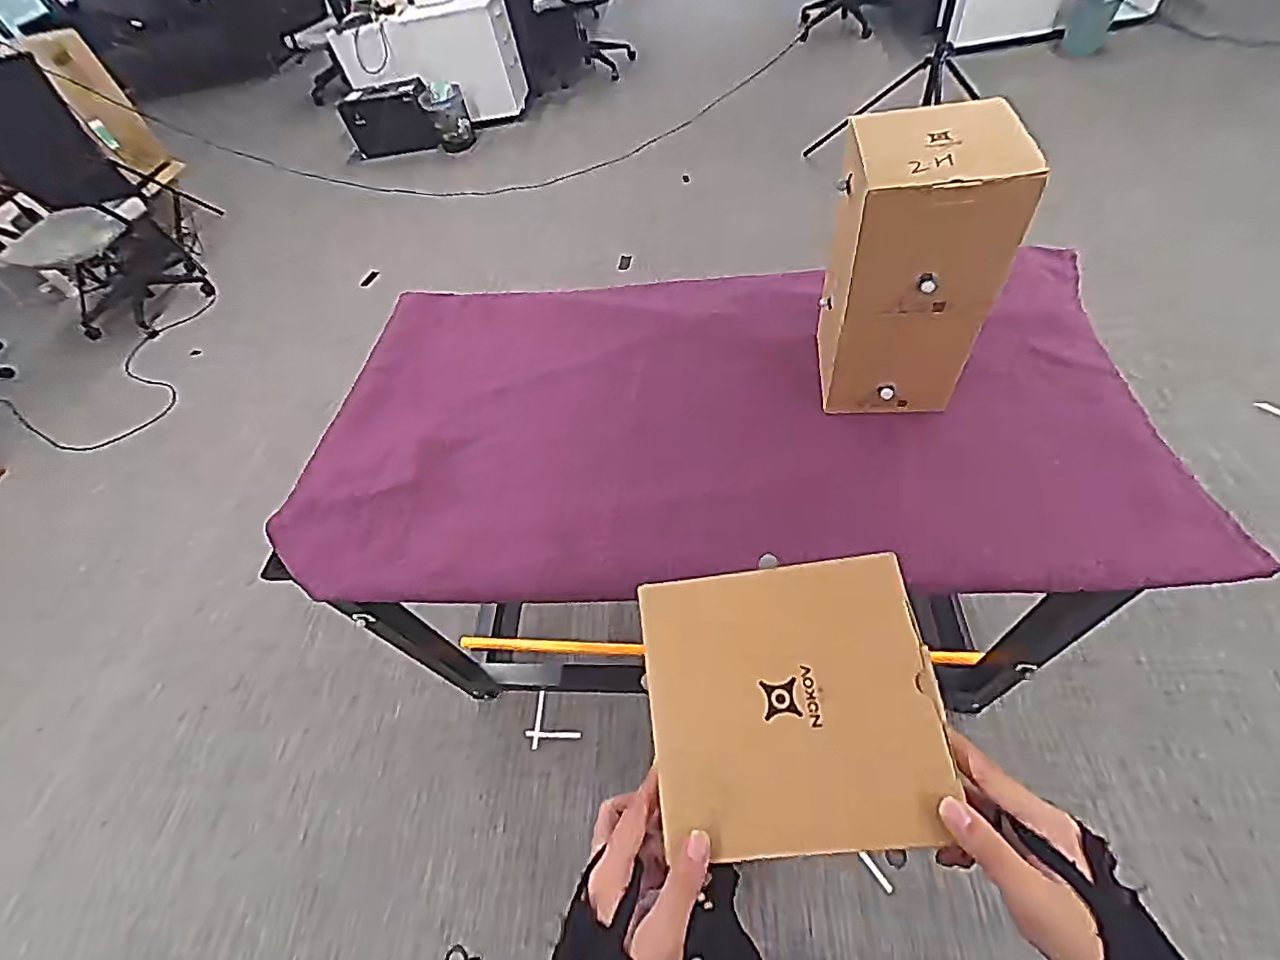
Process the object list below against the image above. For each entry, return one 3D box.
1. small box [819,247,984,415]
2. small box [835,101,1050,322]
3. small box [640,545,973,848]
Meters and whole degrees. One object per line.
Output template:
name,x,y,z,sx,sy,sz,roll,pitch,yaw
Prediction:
small box,0.353,-0.213,0.770,0.168,0.176,0.179,1,55,12
small box,0.331,-0.309,0.637,0.168,0.176,0.179,0,55,12
small box,0.105,0.160,0.409,0.179,0.176,0.168,-9,67,6
